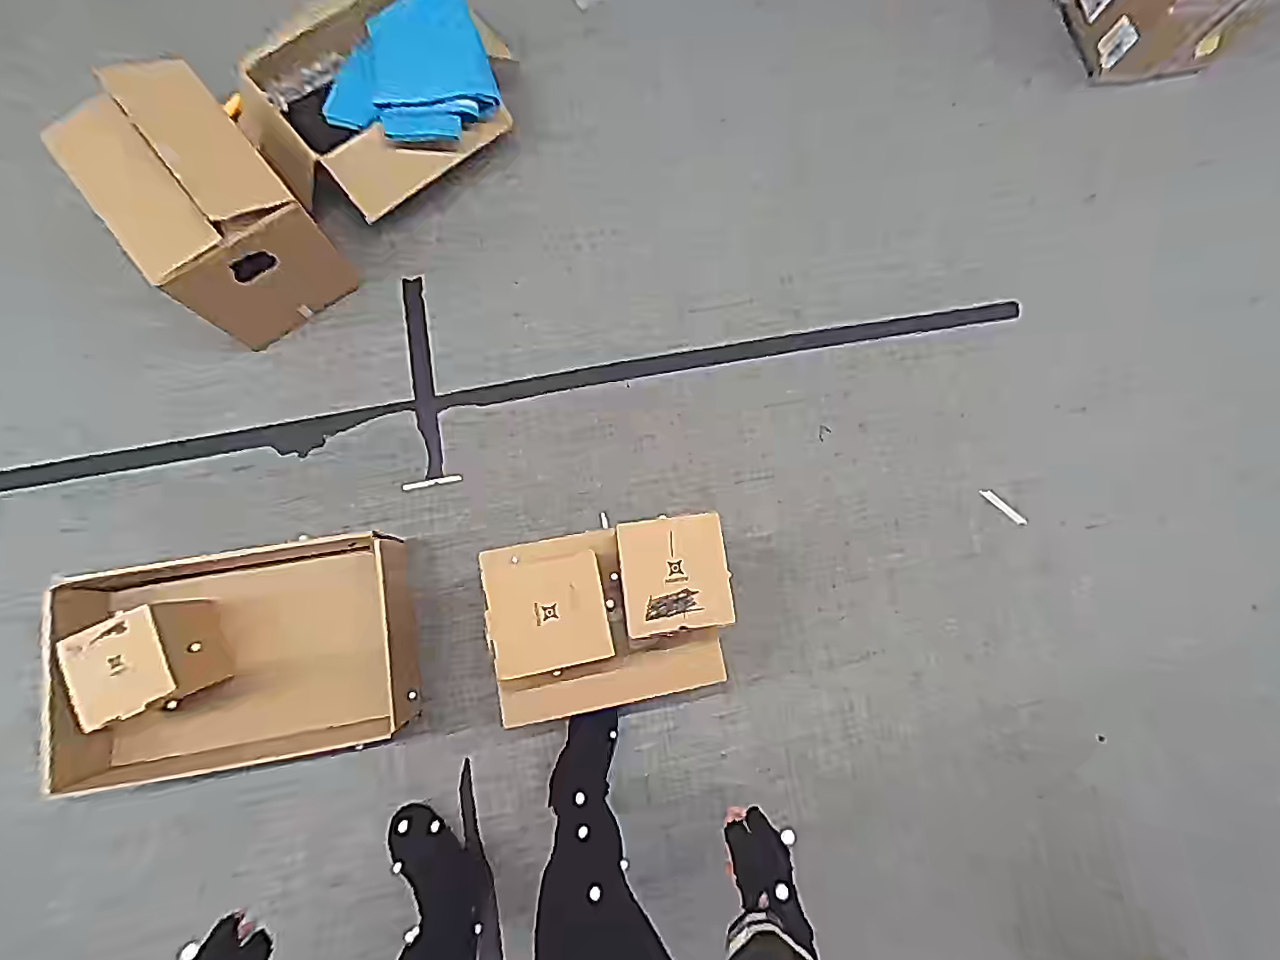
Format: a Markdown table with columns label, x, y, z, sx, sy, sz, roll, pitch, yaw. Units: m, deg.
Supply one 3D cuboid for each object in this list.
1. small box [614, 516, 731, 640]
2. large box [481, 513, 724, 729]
| label | x | y | z | sx | sy | sz | roll | pitch | yaw |
| --- | --- | --- | --- | --- | --- | --- | --- | --- | --- |
| small box | 0.046 | 0.164 | 0.913 | 0.168 | 0.176 | 0.179 | -6 | 78 | -5 |
| large box | -0.083 | 0.277 | 1.129 | 0.408 | 0.320 | 0.320 | -10 | 81 | -8 |
